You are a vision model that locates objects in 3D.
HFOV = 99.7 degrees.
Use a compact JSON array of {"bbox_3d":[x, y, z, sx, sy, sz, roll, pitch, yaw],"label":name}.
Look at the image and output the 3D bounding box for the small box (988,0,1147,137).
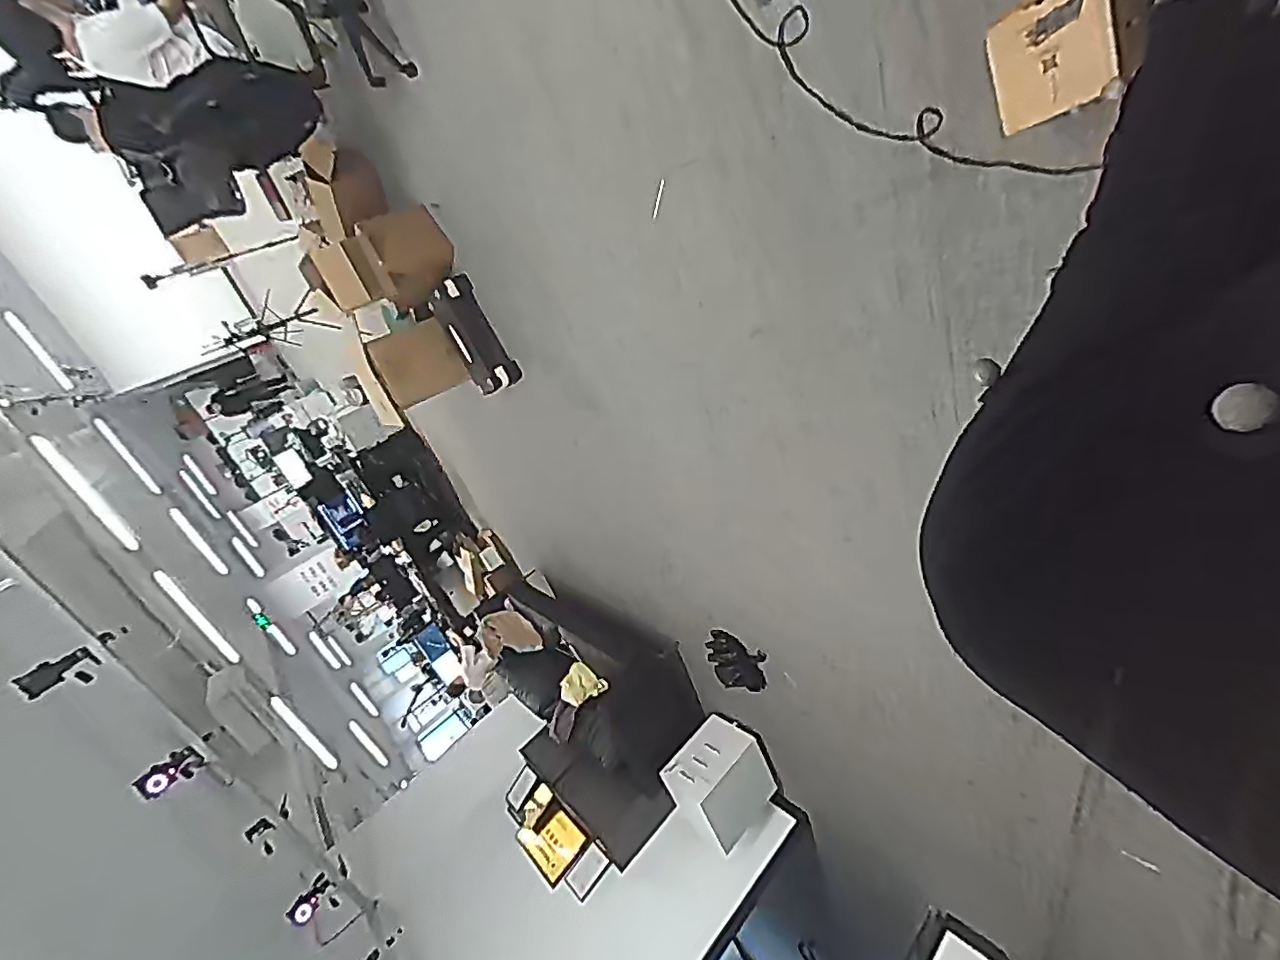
[{"bbox_3d":[0.732,-0.730,0.924,0.168,0.176,0.179,3,124,55],"label":"small box"}]
